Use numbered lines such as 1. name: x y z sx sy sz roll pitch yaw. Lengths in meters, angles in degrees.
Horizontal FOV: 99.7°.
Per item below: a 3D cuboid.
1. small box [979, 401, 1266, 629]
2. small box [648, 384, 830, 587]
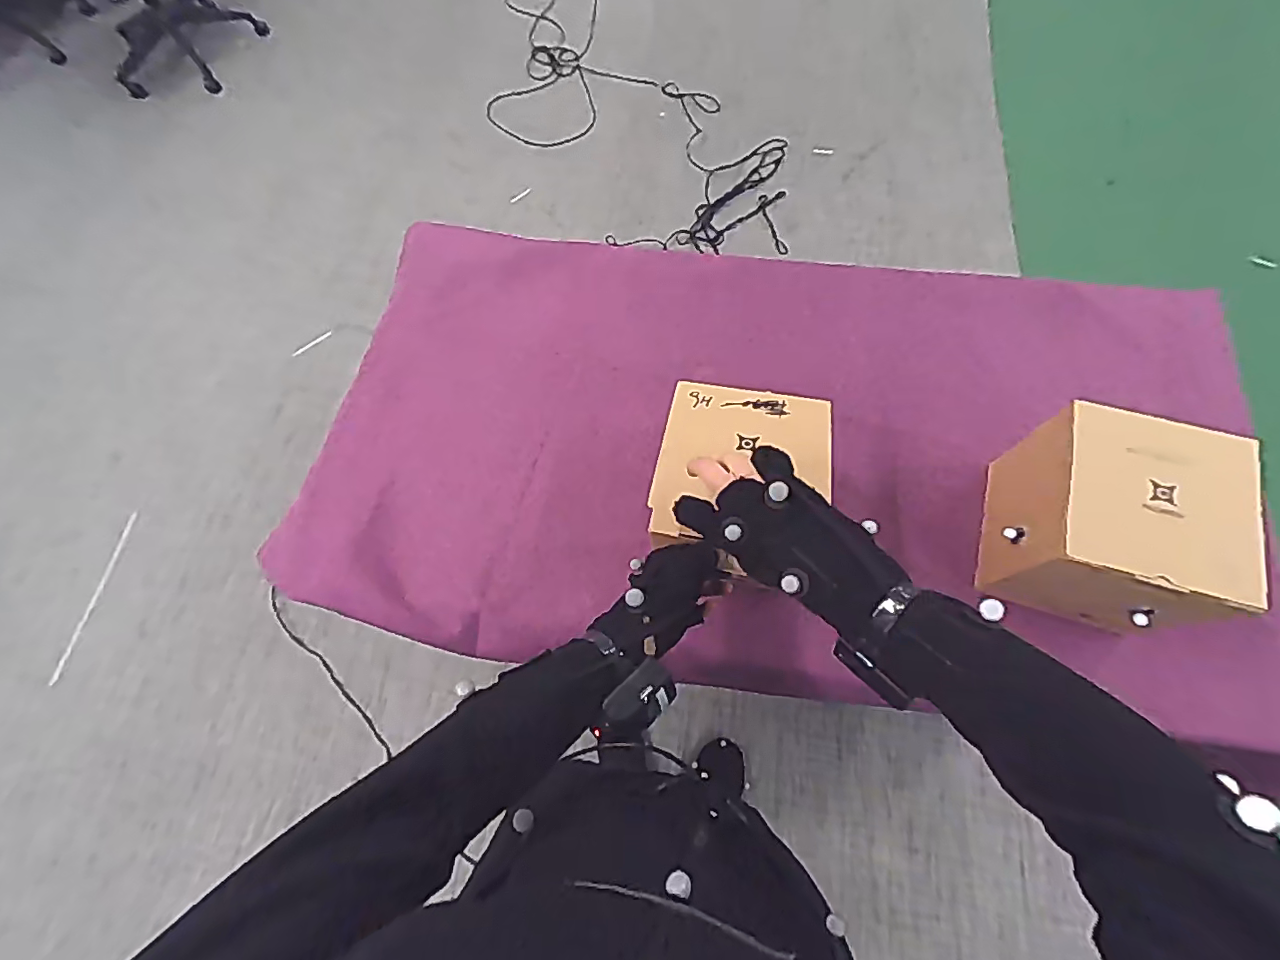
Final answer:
1. small box: 0.495 0.047 0.582 0.168 0.176 0.179 17 70 11
2. small box: 0.110 0.016 0.625 0.168 0.176 0.179 9 69 8
